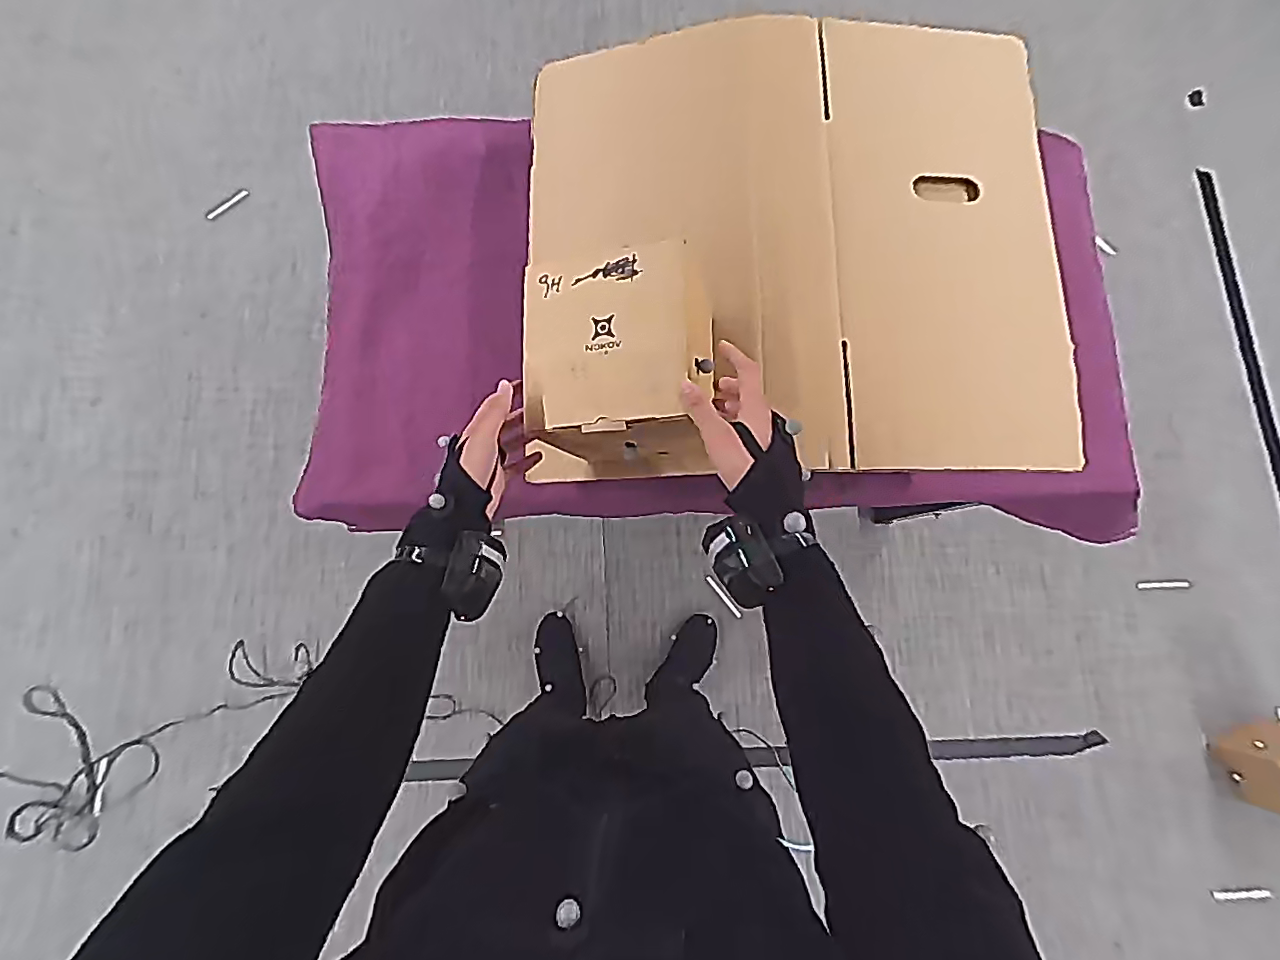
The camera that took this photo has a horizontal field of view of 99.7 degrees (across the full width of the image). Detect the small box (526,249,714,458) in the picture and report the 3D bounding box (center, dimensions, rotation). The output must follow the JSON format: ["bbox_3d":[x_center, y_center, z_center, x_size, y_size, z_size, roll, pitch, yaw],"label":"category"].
[{"bbox_3d":[-0.012,-0.120,0.596,0.168,0.176,0.179,-3,82,16],"label":"small box"}]
